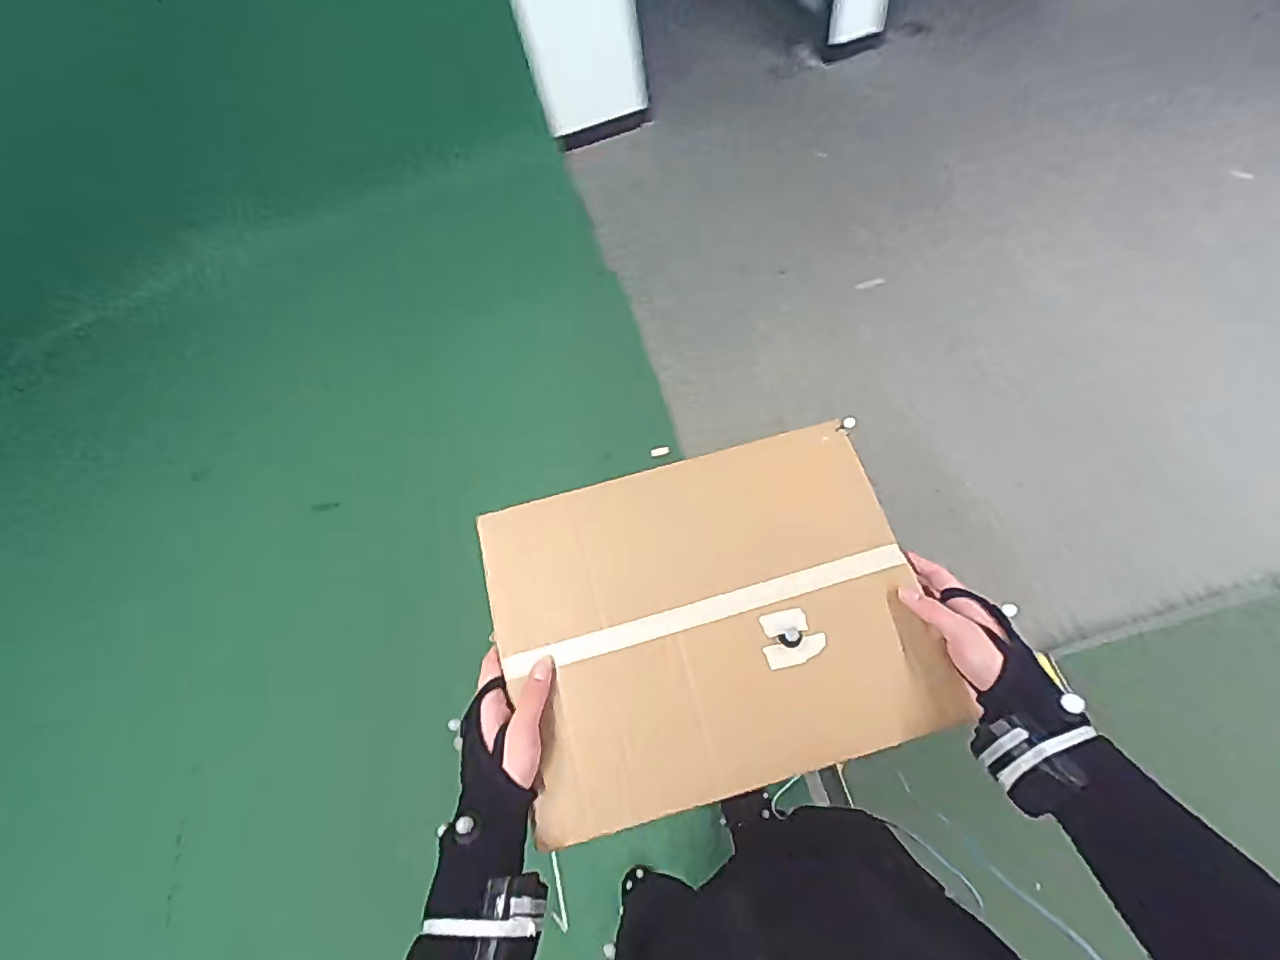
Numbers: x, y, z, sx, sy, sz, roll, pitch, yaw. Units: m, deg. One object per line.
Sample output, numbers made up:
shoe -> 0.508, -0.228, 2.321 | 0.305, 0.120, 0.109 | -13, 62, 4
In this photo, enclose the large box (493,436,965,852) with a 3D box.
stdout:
large box -> 0.076, 0.193, 0.674 | 0.408, 0.320, 0.320 | -15, 70, -3
